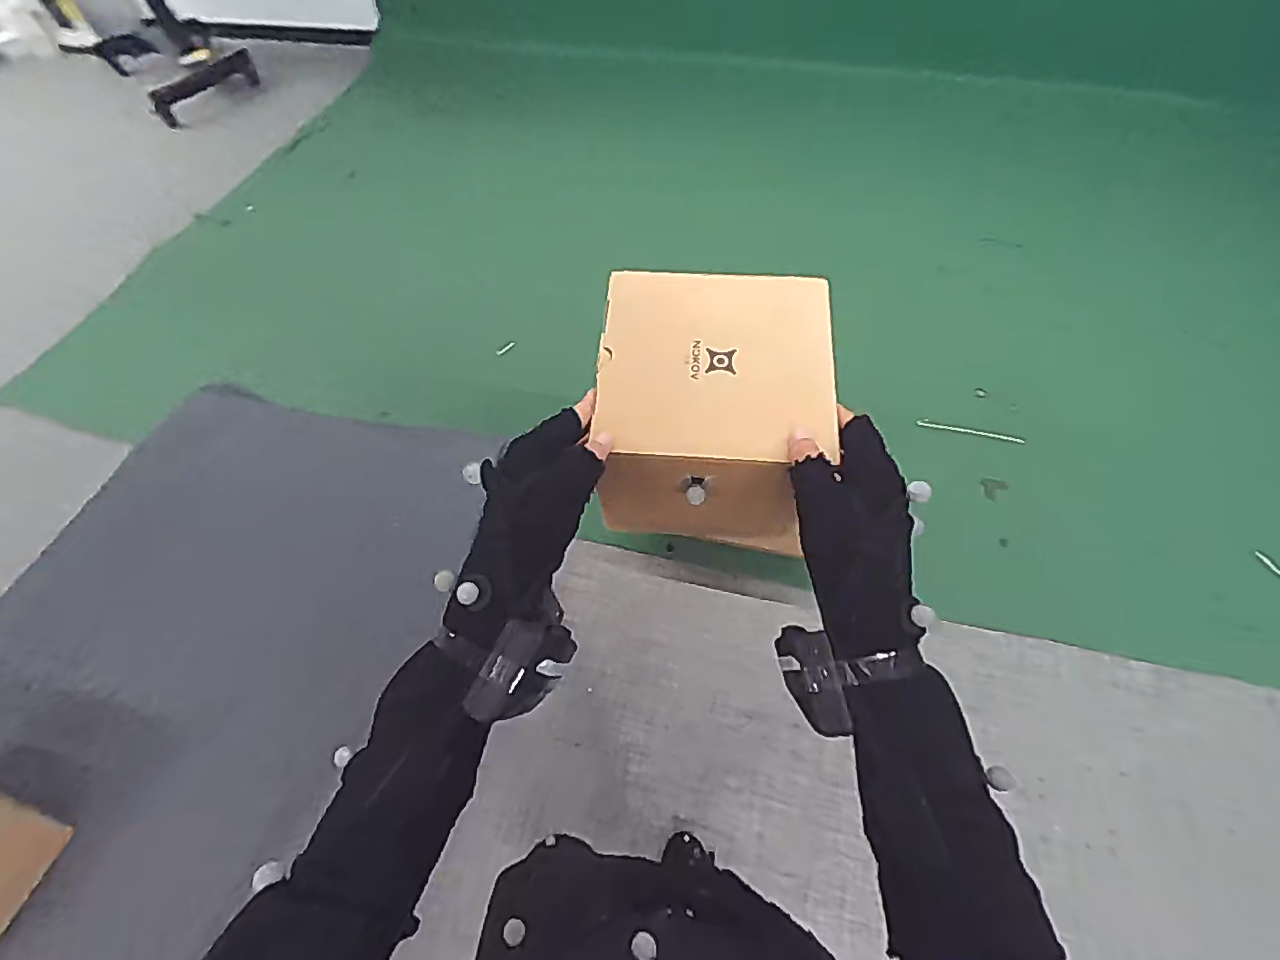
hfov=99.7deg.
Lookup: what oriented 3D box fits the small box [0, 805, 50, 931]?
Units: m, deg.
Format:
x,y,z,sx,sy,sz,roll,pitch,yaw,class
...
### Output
x,y,z,sx,sy,sz,roll,pitch,yaw,class
-0.743,0.406,0.513,0.168,0.176,0.179,14,59,12,small box
